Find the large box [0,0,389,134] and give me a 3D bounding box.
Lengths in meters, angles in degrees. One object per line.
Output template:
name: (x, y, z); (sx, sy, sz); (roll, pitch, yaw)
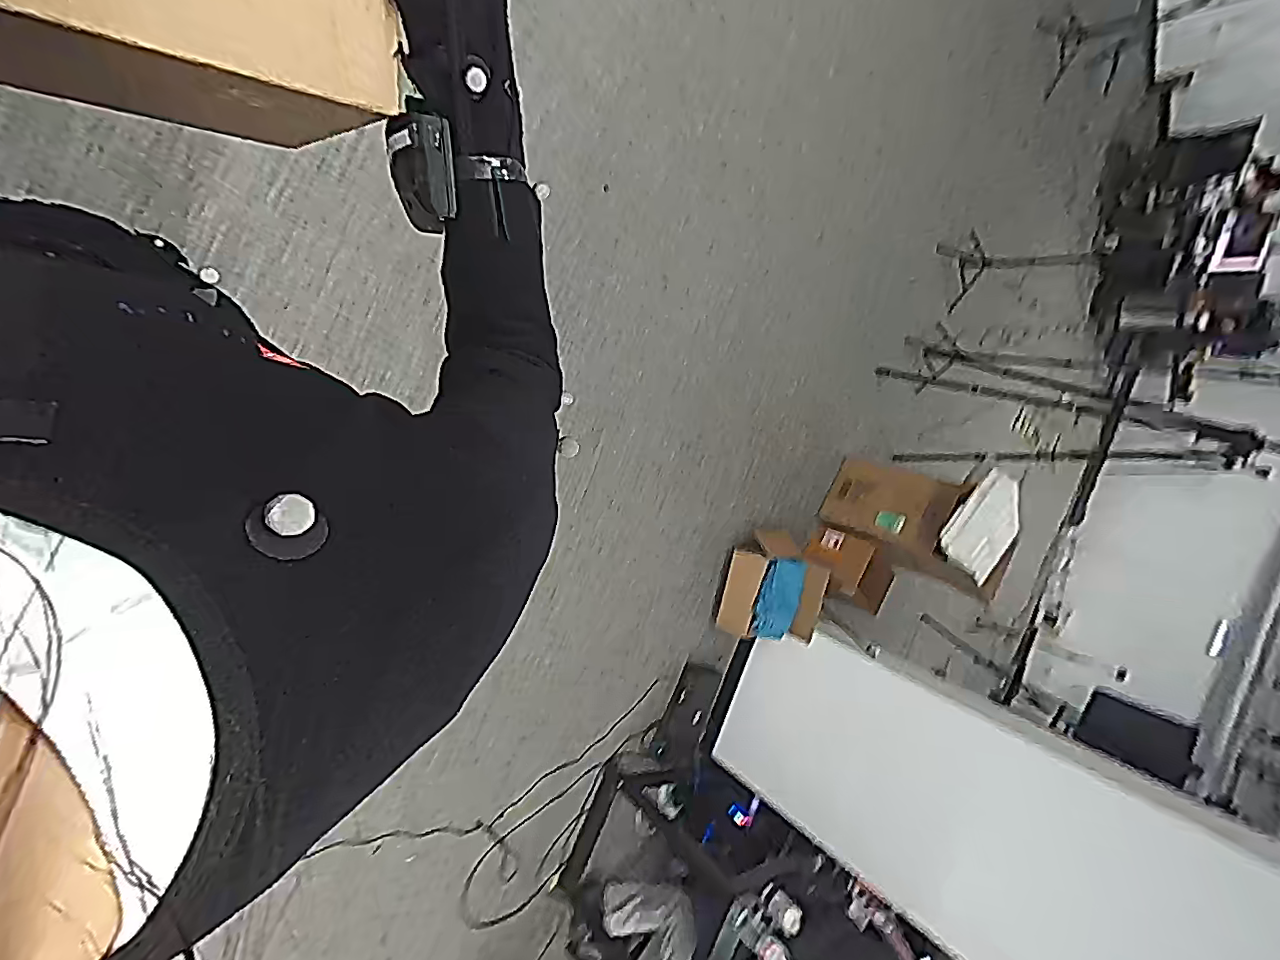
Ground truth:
large box: (-0.391, -0.401, 0.264); (0.408, 0.320, 0.320); (-12, 120, -40)
